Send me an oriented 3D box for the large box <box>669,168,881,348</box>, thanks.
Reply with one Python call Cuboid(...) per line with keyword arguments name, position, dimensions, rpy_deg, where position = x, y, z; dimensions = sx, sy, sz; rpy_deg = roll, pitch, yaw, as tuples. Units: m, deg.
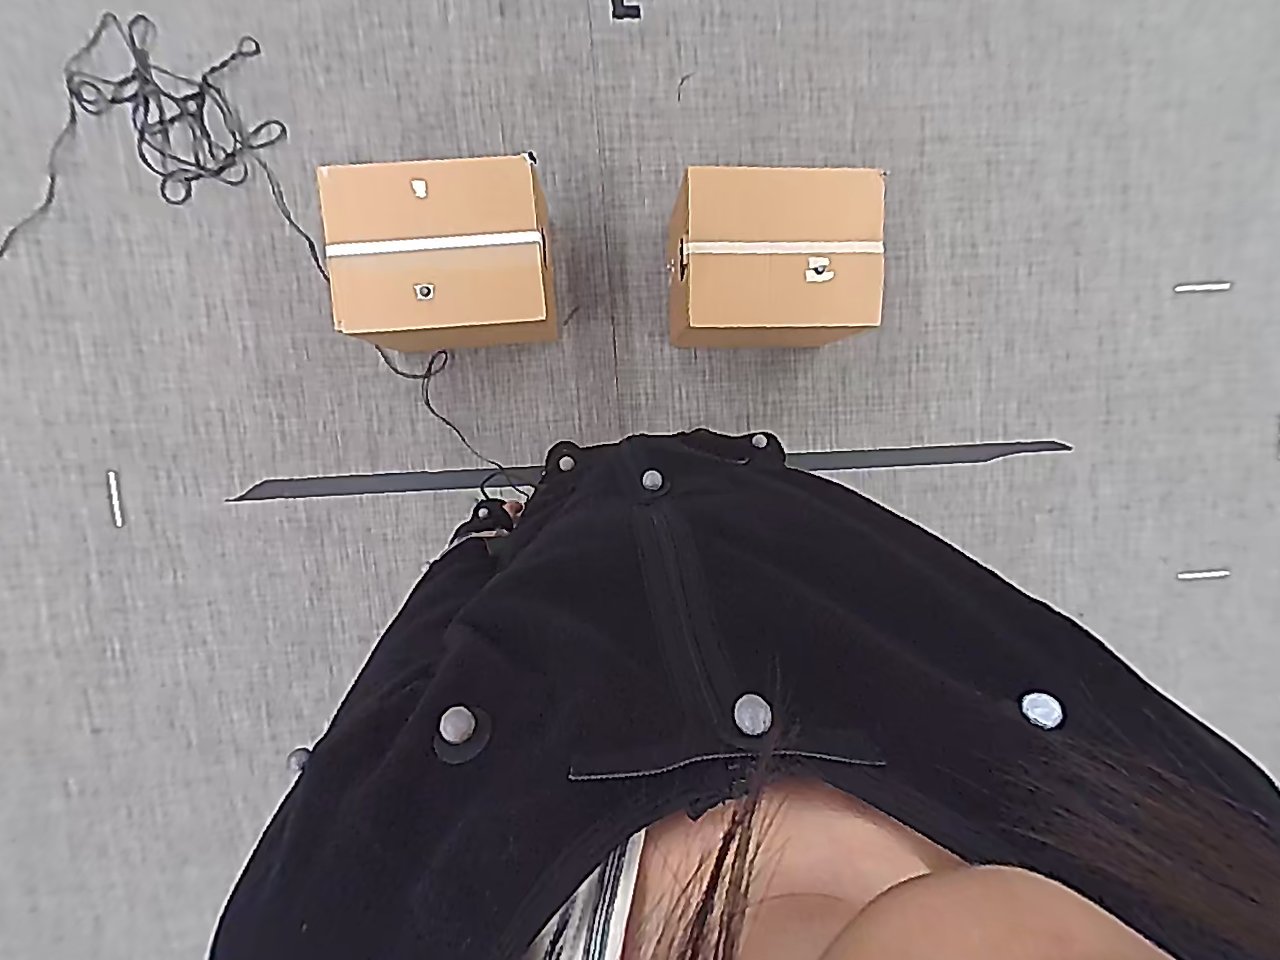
Cuboid(name="large box", position=(0.285, -0.486, 1.250), dimensions=(0.408, 0.320, 0.320), rpy_deg=(-1, 96, -4))
